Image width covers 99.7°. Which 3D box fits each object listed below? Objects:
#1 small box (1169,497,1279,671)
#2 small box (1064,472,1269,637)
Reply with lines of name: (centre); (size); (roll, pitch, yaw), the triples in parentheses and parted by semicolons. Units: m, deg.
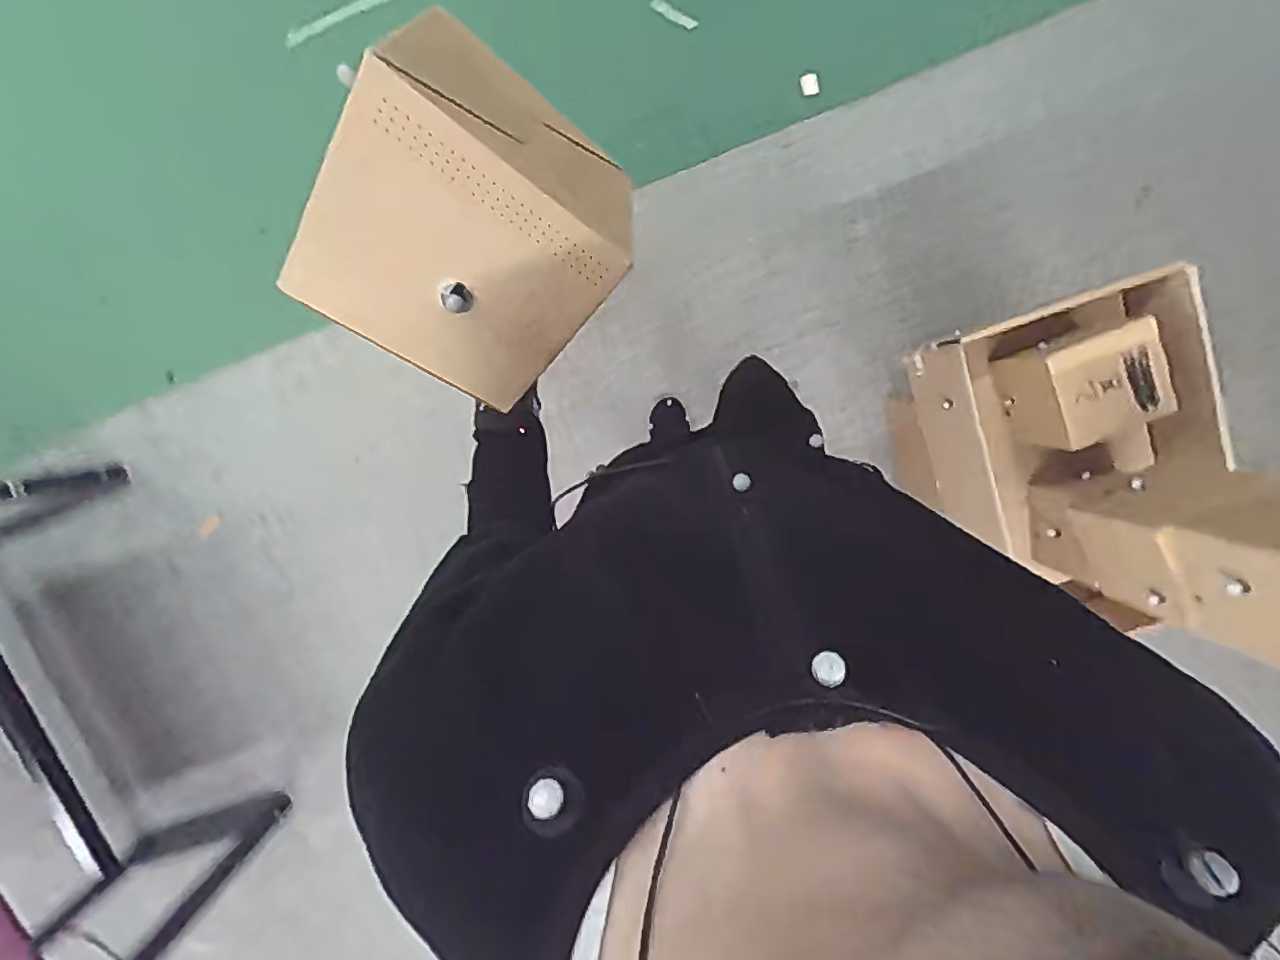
small box: (0.820, 0.131, 0.673); (0.179, 0.176, 0.168); (-19, 96, 3)
small box: (0.816, 0.104, 0.833); (0.168, 0.176, 0.179); (-27, 95, 4)
